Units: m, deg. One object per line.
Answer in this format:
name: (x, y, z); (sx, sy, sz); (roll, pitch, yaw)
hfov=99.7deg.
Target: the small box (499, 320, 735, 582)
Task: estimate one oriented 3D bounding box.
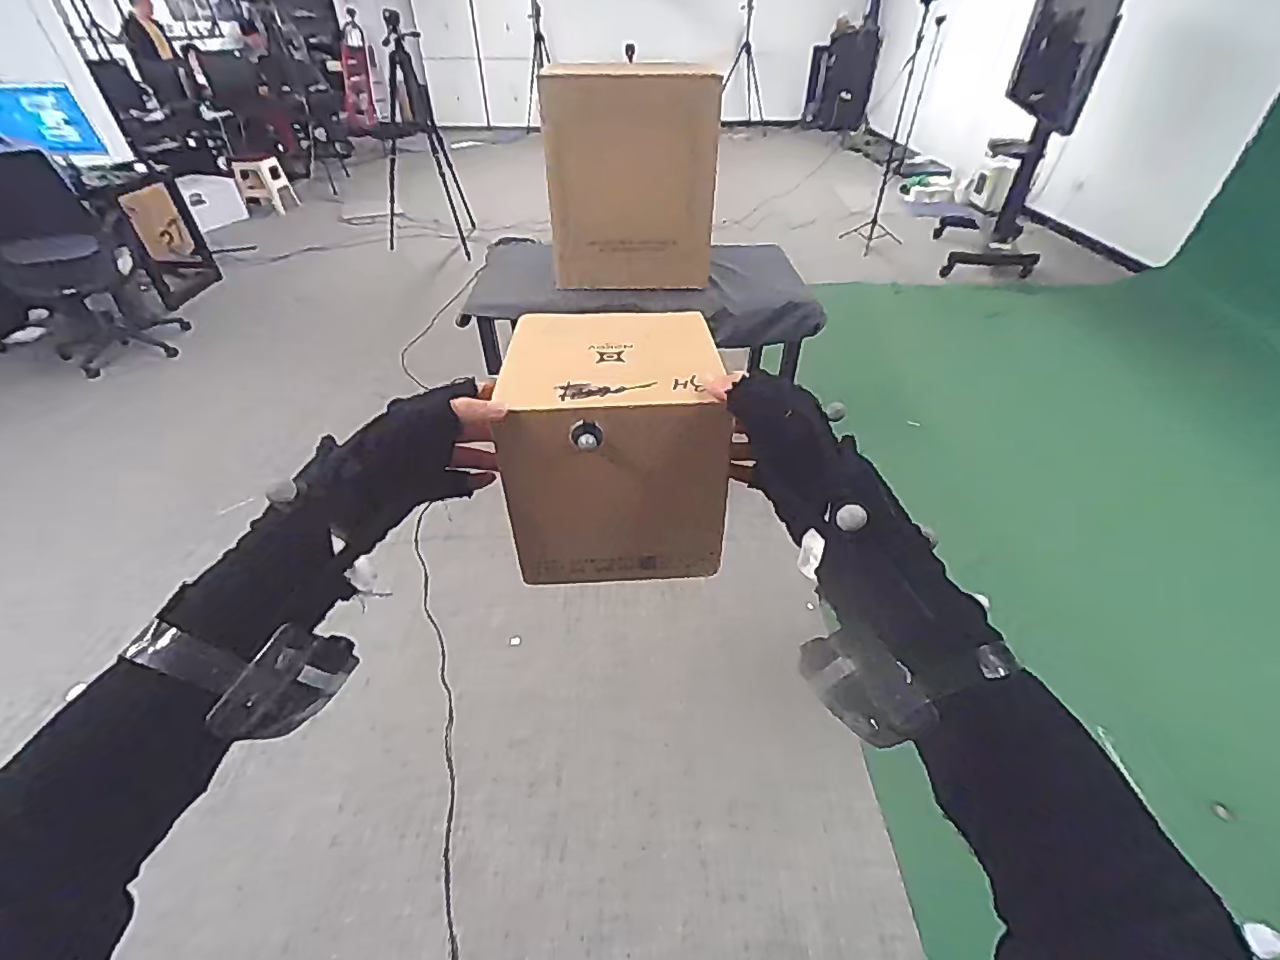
small box: (-0.017, -0.031, 0.482); (0.168, 0.176, 0.179); (-3, 35, -1)
